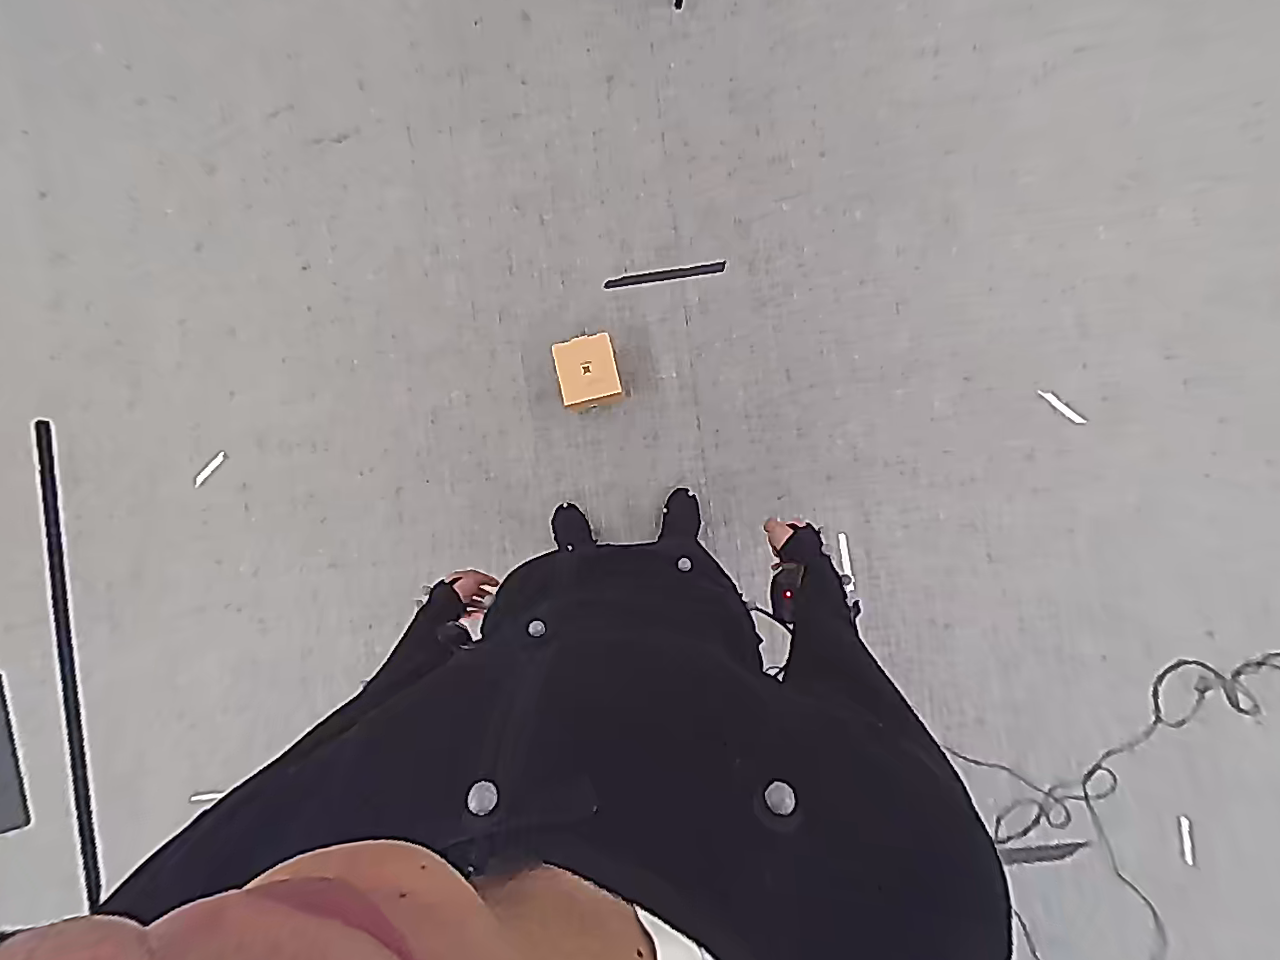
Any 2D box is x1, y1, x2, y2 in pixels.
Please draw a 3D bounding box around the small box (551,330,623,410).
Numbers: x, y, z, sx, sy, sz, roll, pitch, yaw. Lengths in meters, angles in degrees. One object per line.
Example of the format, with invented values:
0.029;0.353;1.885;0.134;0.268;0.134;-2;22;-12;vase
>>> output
-0.149;-0.313;1.574;0.168;0.176;0.179;-13;90;2;small box
